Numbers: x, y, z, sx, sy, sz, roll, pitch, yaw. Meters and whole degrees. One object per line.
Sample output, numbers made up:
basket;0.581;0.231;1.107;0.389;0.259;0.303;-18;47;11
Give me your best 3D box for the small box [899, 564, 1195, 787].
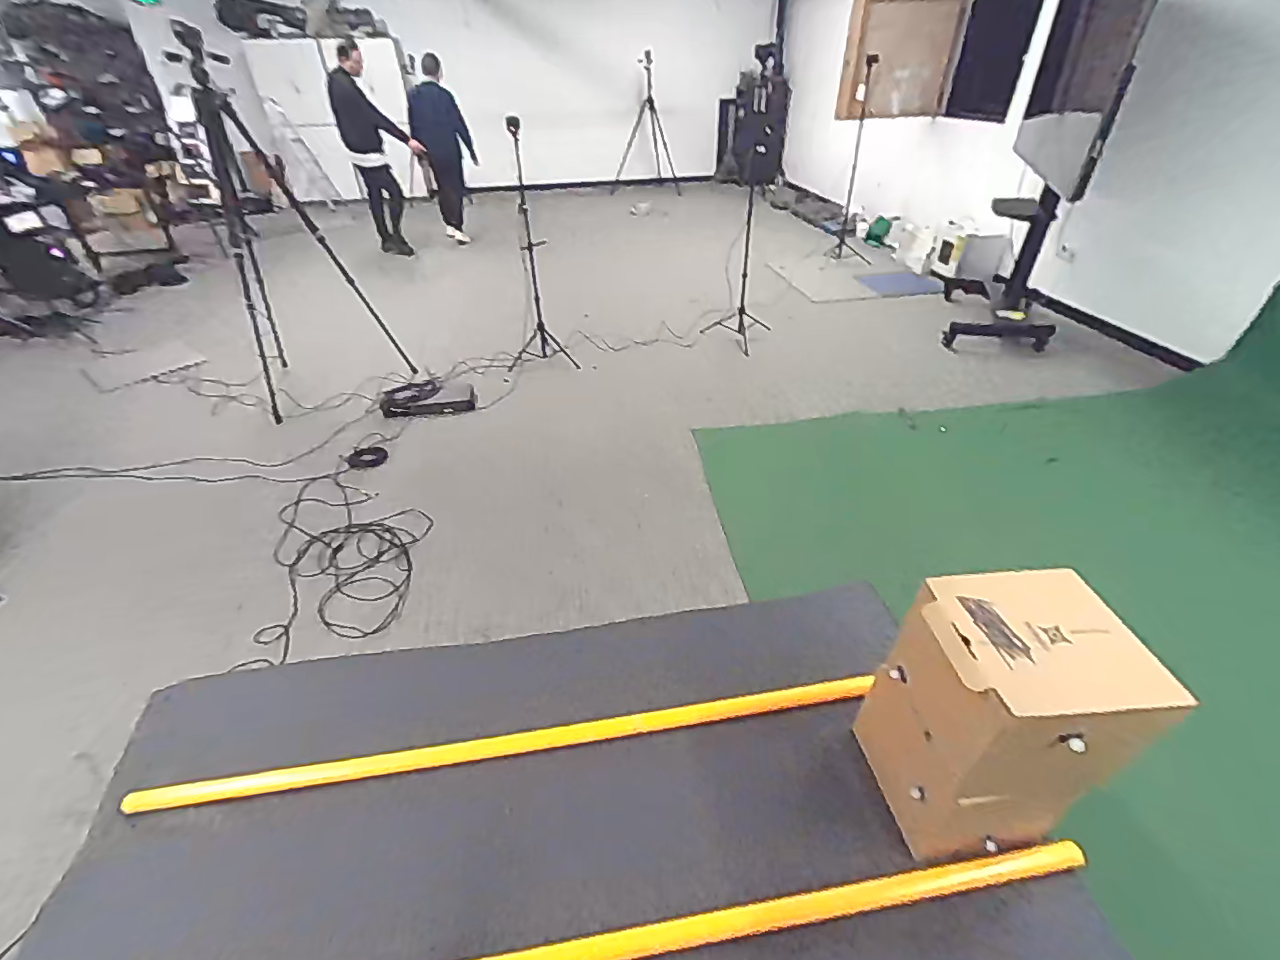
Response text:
small box;0.407;0.212;0.588;0.179;0.176;0.168;-3;39;-3
